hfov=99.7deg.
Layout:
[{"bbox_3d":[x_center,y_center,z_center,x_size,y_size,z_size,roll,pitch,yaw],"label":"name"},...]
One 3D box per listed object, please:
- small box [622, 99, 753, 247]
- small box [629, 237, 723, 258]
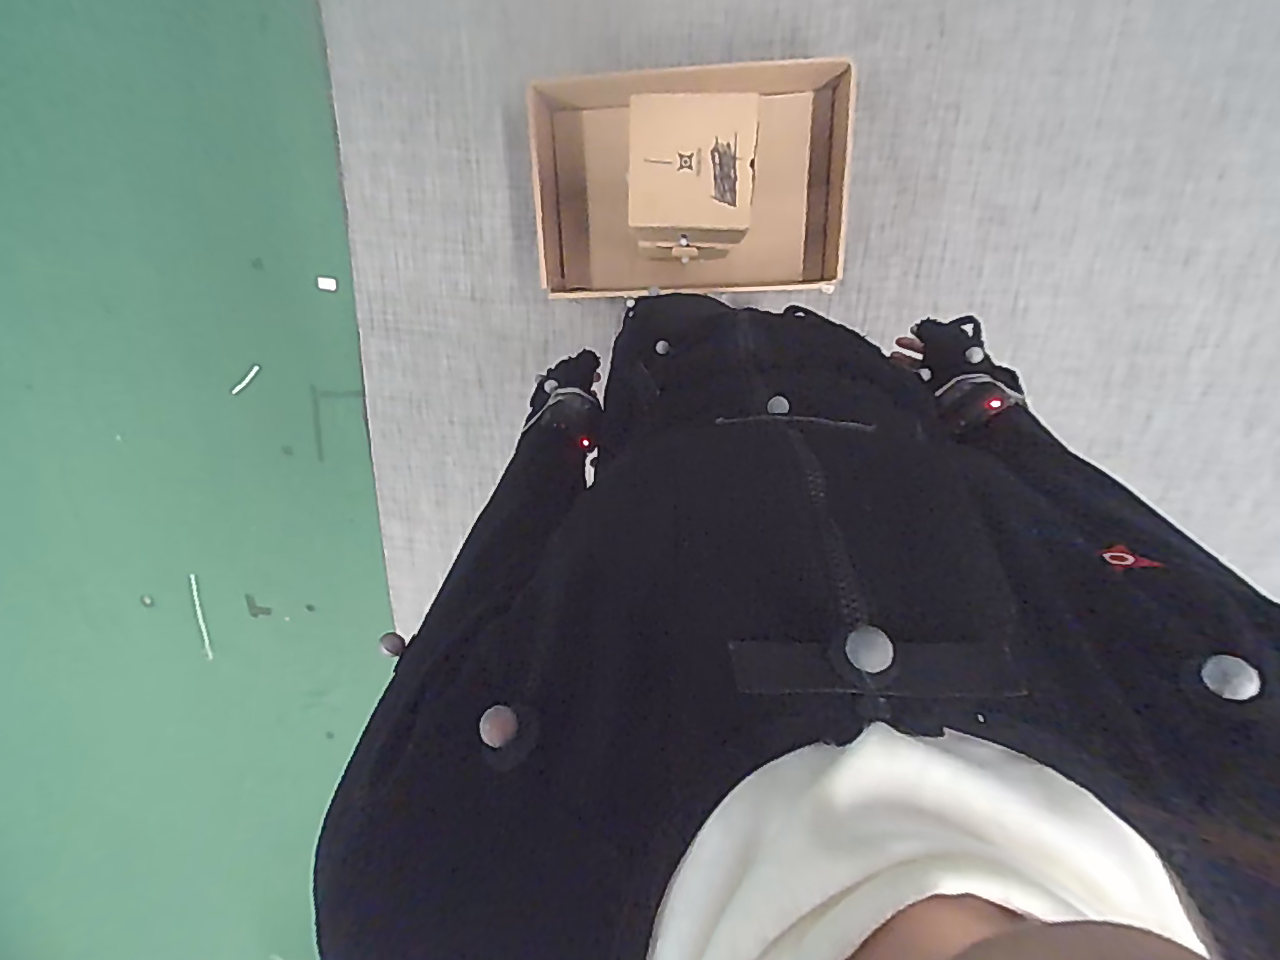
[{"bbox_3d":[0.070,-0.463,0.838,0.179,0.176,0.168,4,106,4],"label":"small box"},{"bbox_3d":[0.074,-0.503,0.981,0.168,0.176,0.179,4,108,4],"label":"small box"}]
